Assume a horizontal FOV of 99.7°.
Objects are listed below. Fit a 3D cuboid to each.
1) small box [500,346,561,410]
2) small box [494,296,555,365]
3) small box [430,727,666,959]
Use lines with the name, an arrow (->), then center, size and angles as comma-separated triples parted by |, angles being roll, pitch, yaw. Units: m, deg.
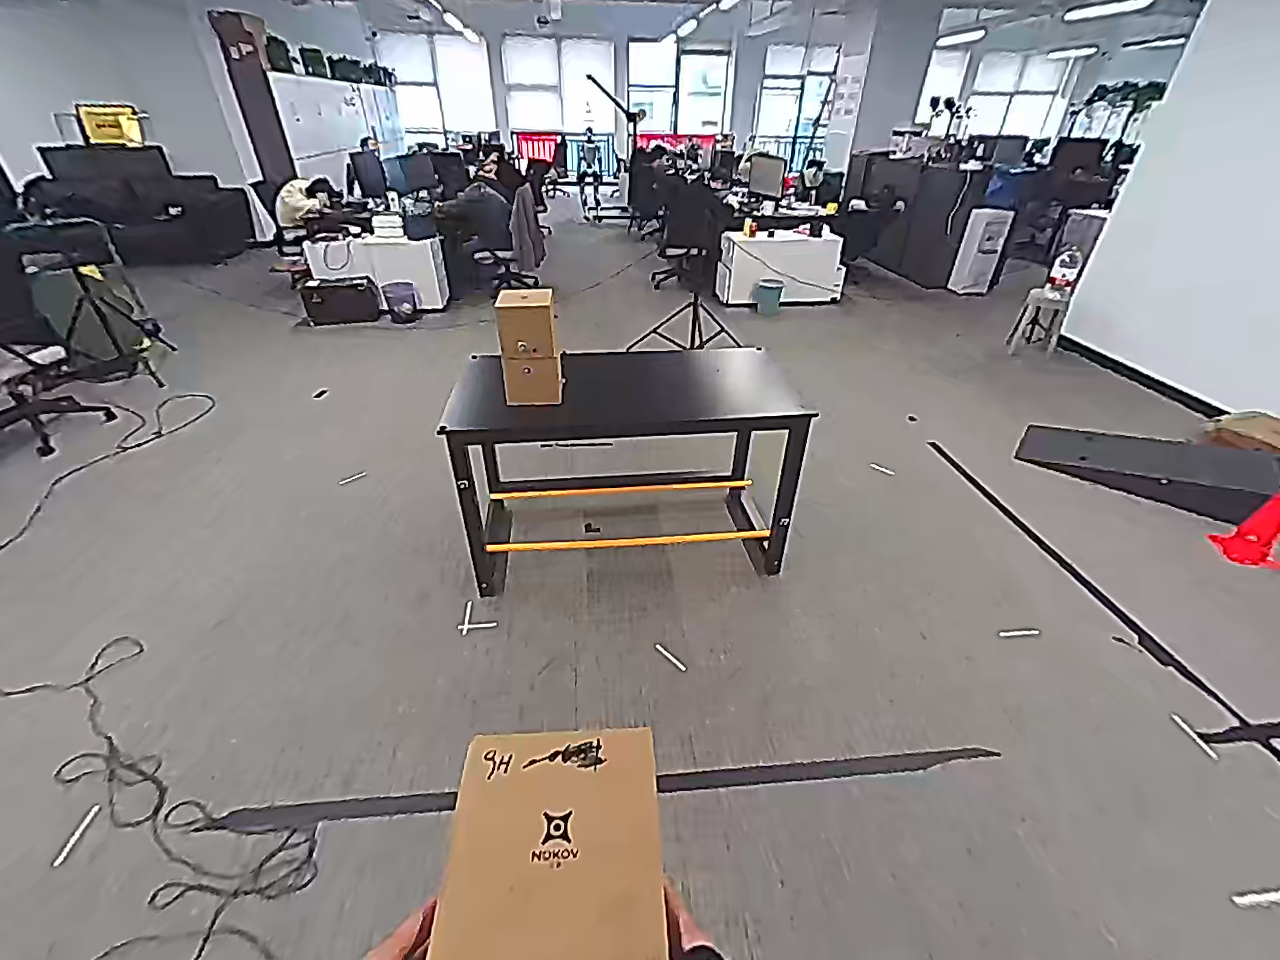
small box -> -0.362, -0.344, 1.817 | 0.179, 0.176, 0.168 | -2, 34, -5
small box -> -0.363, -0.478, 1.725 | 0.168, 0.176, 0.179 | -4, 35, -5
small box -> -0.065, 0.345, 0.472 | 0.168, 0.176, 0.179 | -2, 38, -3
